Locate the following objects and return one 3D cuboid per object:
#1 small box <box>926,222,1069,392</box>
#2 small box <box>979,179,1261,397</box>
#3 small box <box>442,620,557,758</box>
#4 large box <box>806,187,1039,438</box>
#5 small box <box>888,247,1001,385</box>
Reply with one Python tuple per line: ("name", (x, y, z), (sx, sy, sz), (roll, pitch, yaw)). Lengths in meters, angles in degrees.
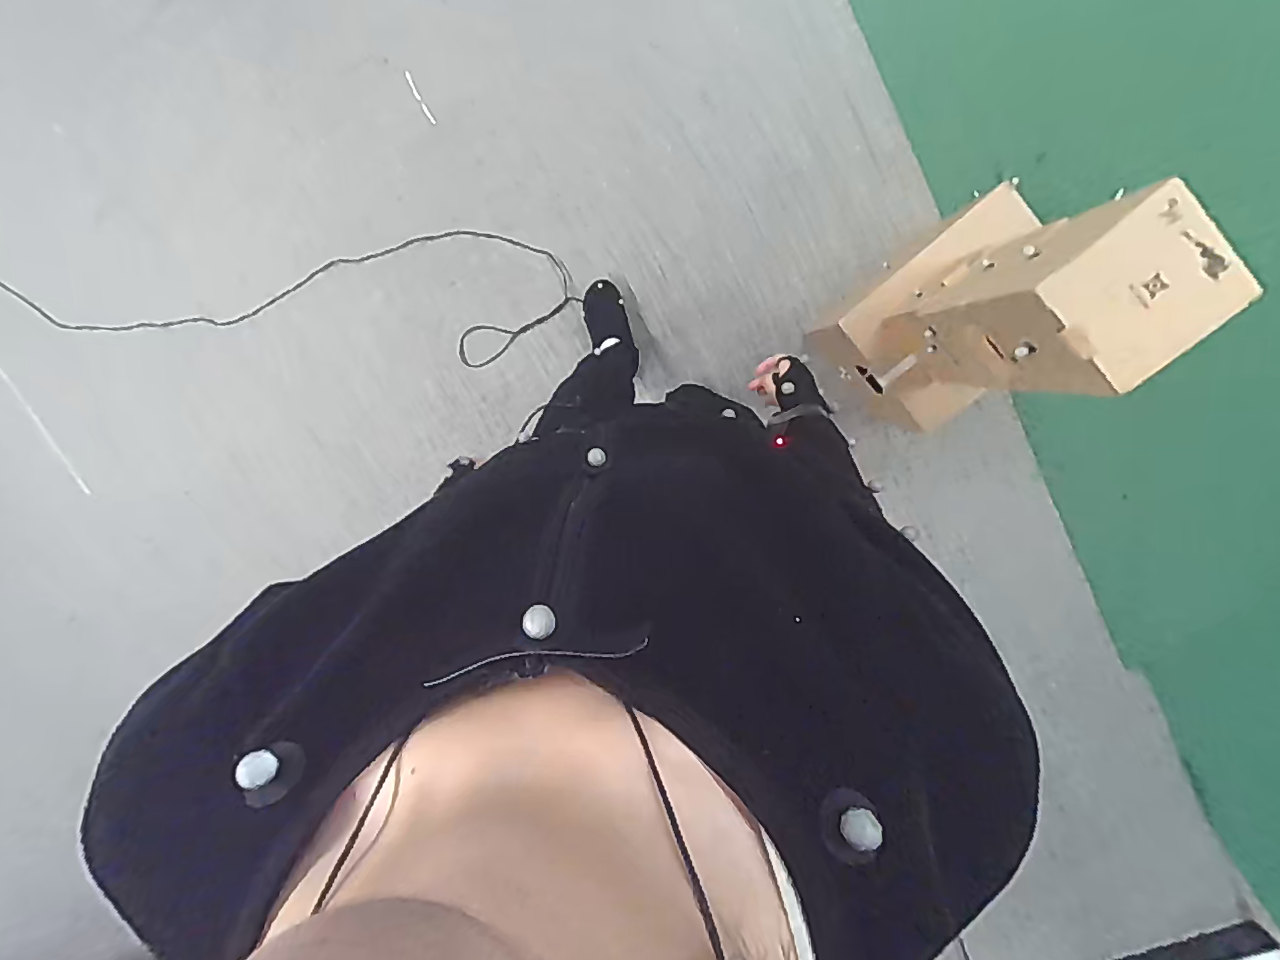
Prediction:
("small box", (0.579, -0.253, 0.837), (0.179, 0.176, 0.168), (-41, 94, 11))
("small box", (0.568, -0.223, 0.676), (0.179, 0.176, 0.168), (-40, 95, 12))
("small box", (-0.261, 0.388, 1.034), (0.168, 0.176, 0.179), (8, 103, 4))
("large box", (0.657, -0.349, 1.228), (0.408, 0.320, 0.320), (-41, 96, 10))
("small box", (0.595, -0.287, 0.996), (0.168, 0.176, 0.179), (-40, 95, 11))
